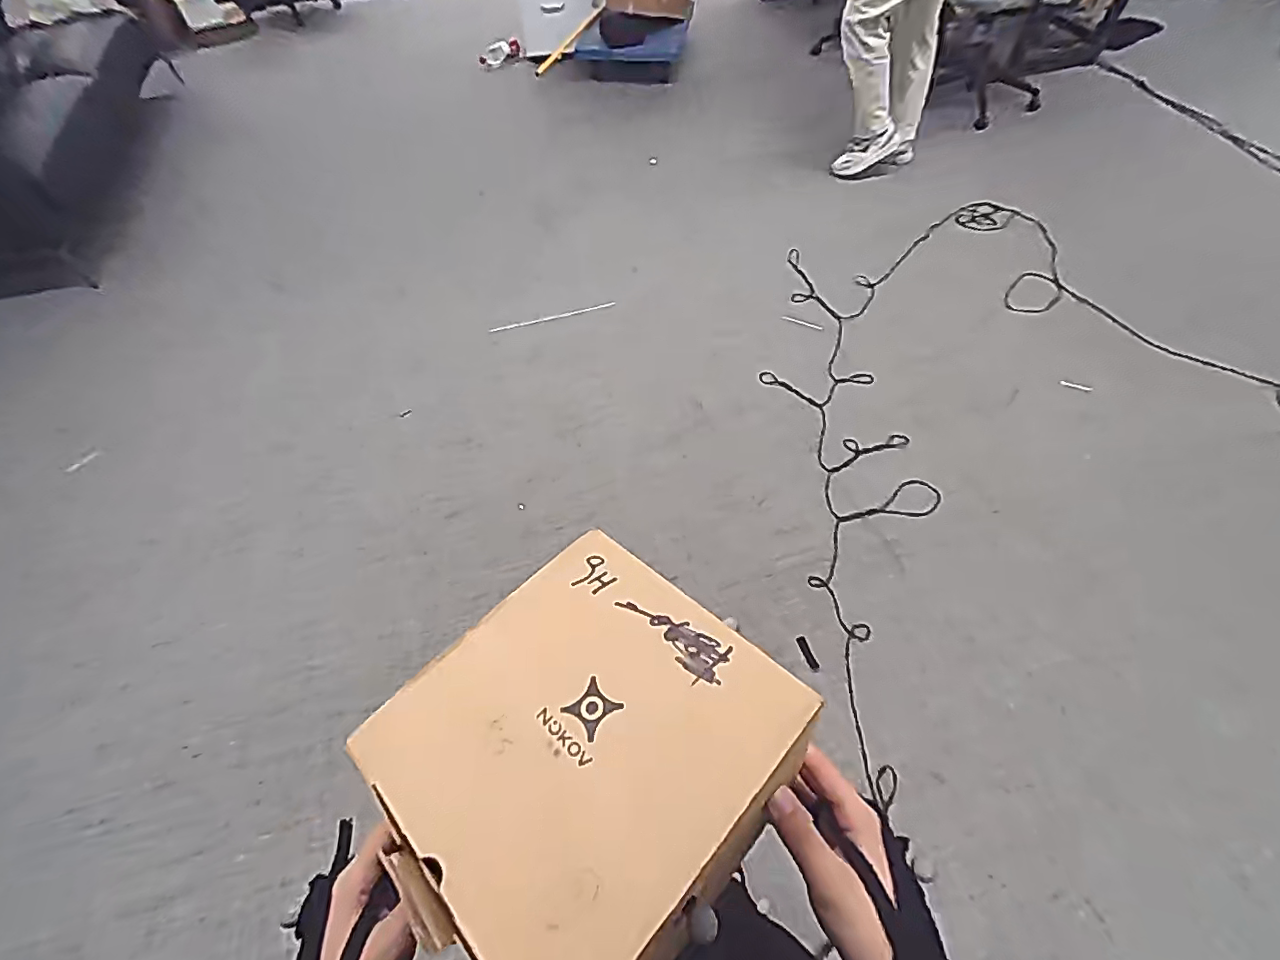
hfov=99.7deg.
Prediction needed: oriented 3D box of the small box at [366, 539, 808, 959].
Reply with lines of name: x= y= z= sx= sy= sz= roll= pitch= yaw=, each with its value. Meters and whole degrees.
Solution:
small box: x=-0.019 y=0.178 z=0.334 sx=0.168 sy=0.176 sz=0.179 roll=32 pitch=59 yaw=31
